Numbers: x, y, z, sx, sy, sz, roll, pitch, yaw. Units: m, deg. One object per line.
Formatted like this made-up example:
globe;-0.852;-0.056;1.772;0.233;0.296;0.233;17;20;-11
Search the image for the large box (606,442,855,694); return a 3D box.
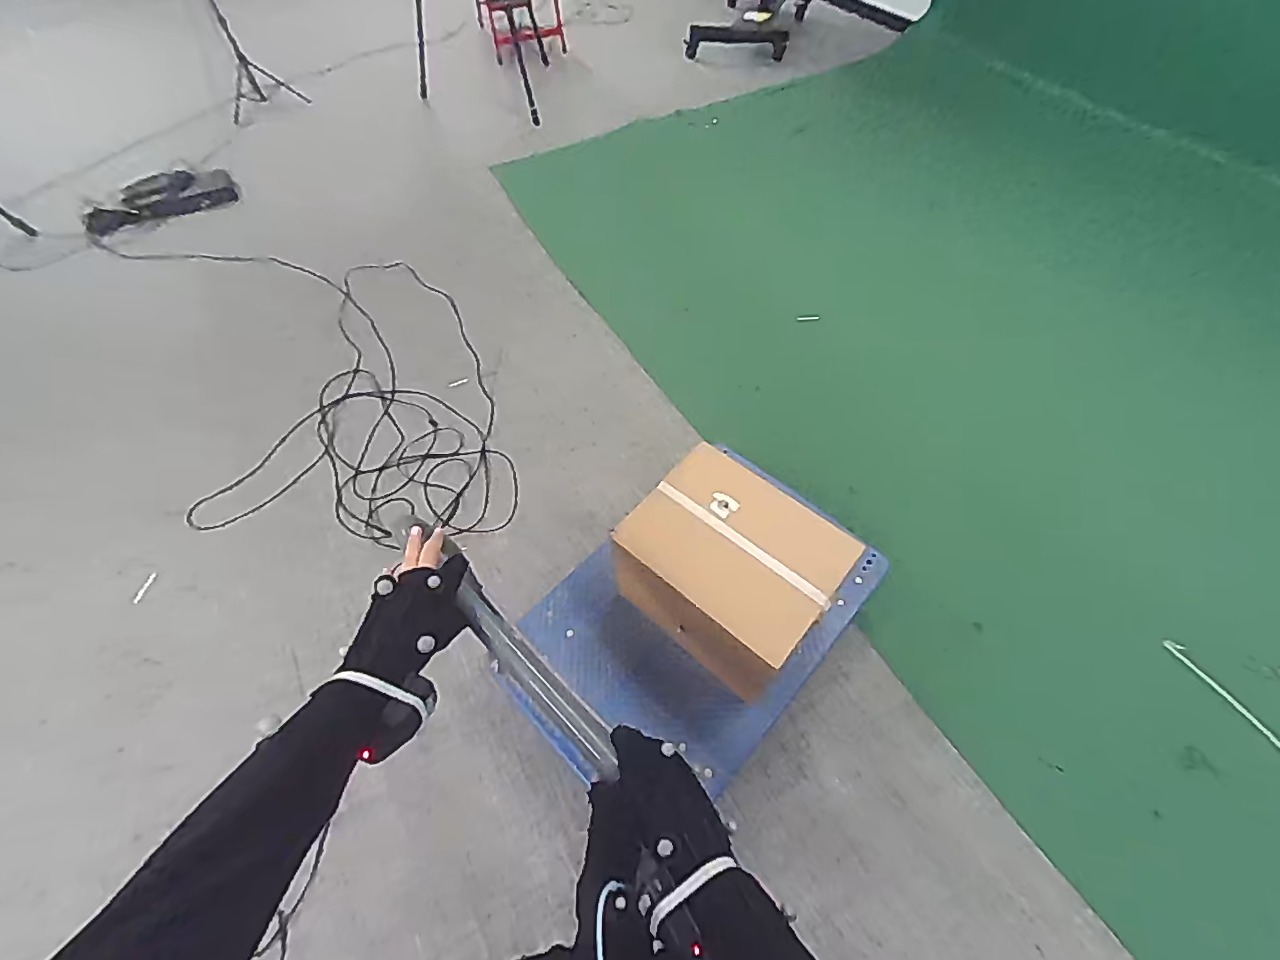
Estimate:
large box;0.184;0.197;1.198;0.408;0.320;0.320;36;64;22
